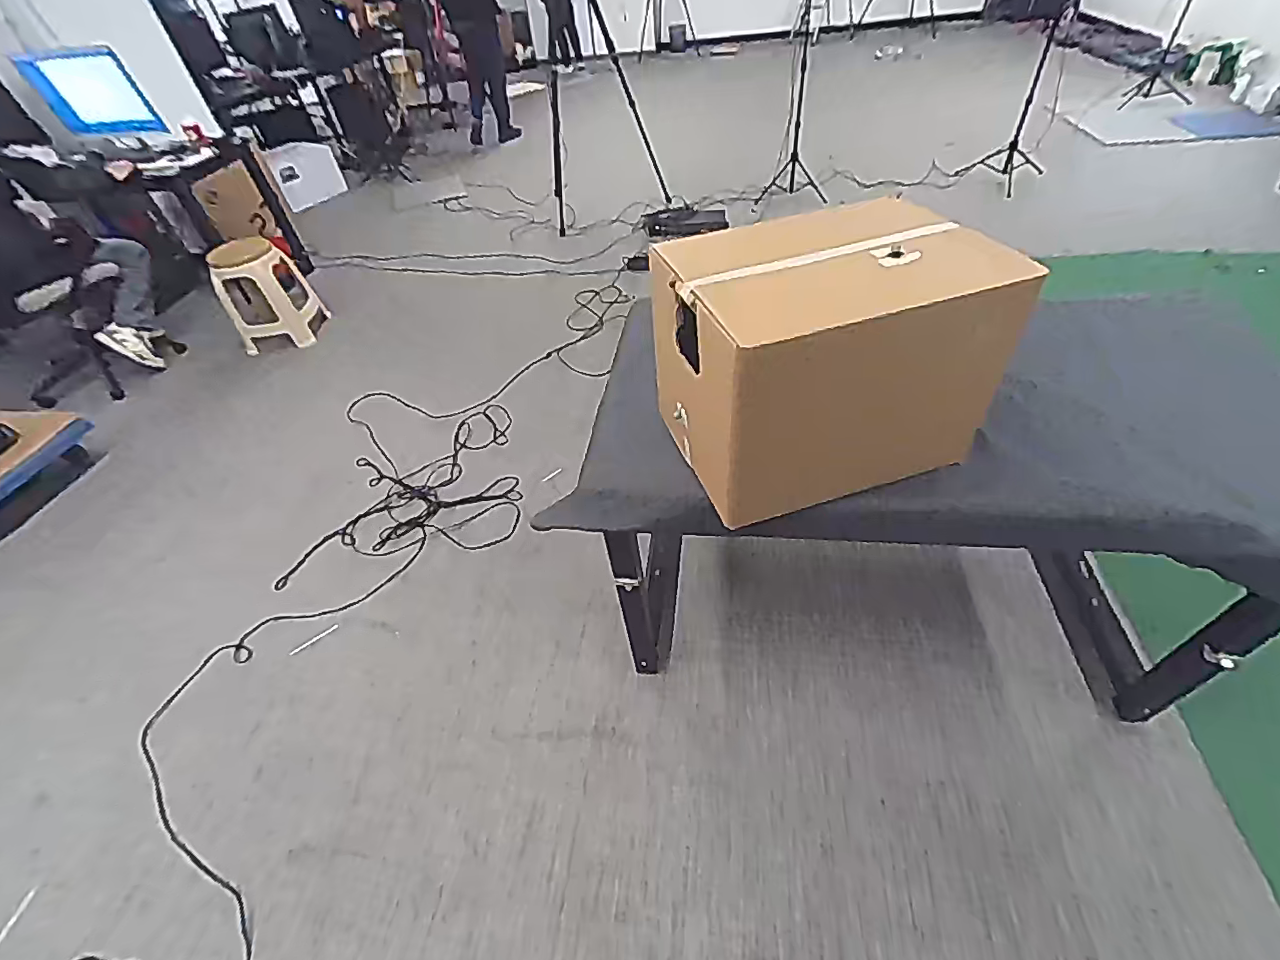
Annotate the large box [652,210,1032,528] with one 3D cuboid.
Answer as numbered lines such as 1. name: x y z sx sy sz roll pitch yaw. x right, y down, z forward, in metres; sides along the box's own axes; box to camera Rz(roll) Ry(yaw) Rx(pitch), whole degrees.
1. large box: 0.259 -0.178 0.833 0.408 0.320 0.320 -15 46 -10
